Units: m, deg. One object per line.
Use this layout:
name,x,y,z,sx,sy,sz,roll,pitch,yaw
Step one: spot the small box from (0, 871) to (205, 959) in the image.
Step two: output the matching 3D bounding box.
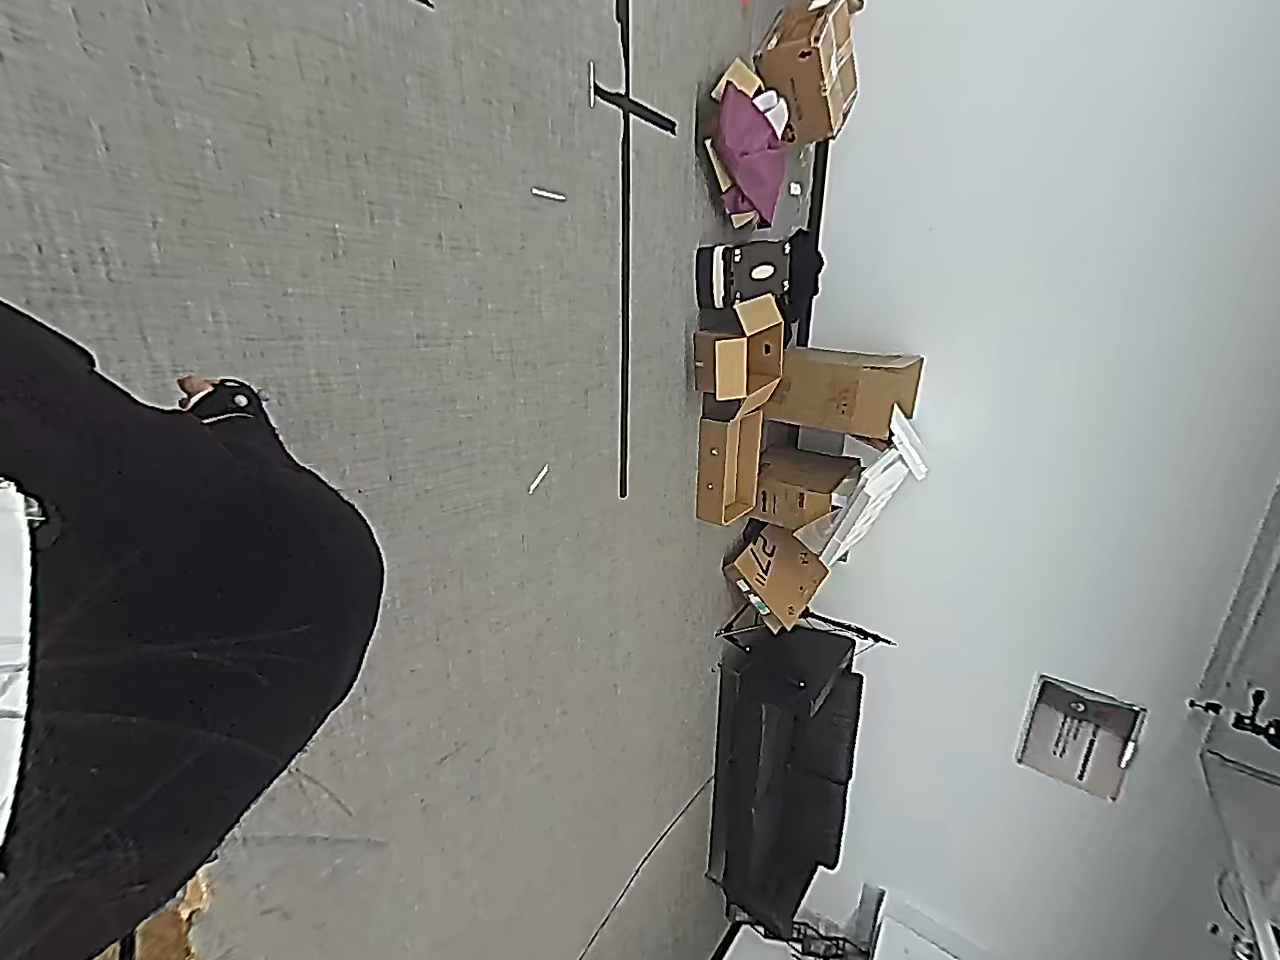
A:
small box,-0.559,0.558,0.559,0.168,0.176,0.179,-23,118,-47
